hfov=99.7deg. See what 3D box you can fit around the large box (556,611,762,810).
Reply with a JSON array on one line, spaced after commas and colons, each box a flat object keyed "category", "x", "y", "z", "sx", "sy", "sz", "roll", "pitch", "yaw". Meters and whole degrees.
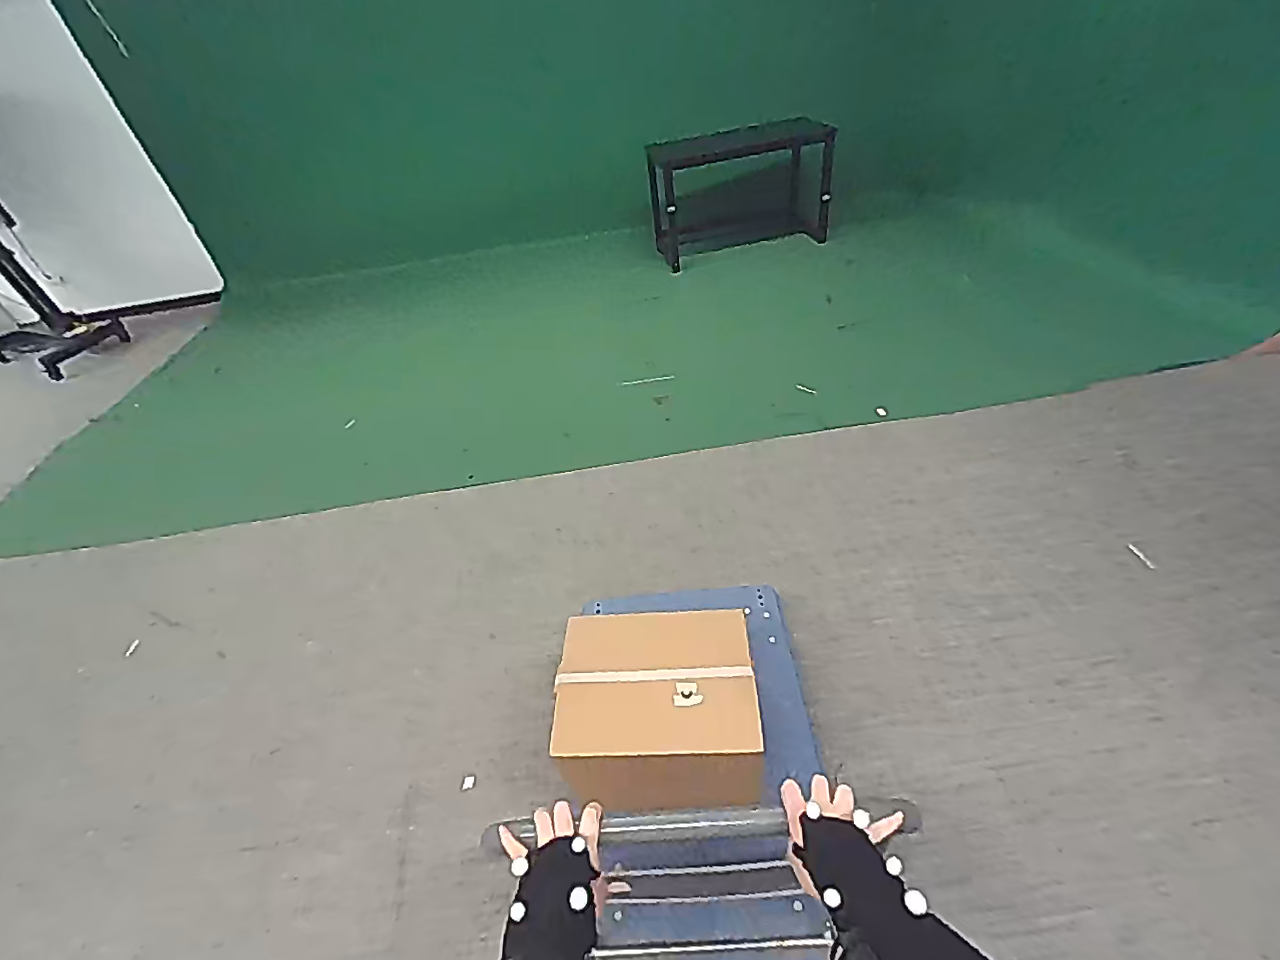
[{"category": "large box", "x": 0.047, "y": 0.527, "z": 1.234, "sx": 0.408, "sy": 0.320, "sz": 0.320, "roll": -3, "pitch": 41, "yaw": 4}]
